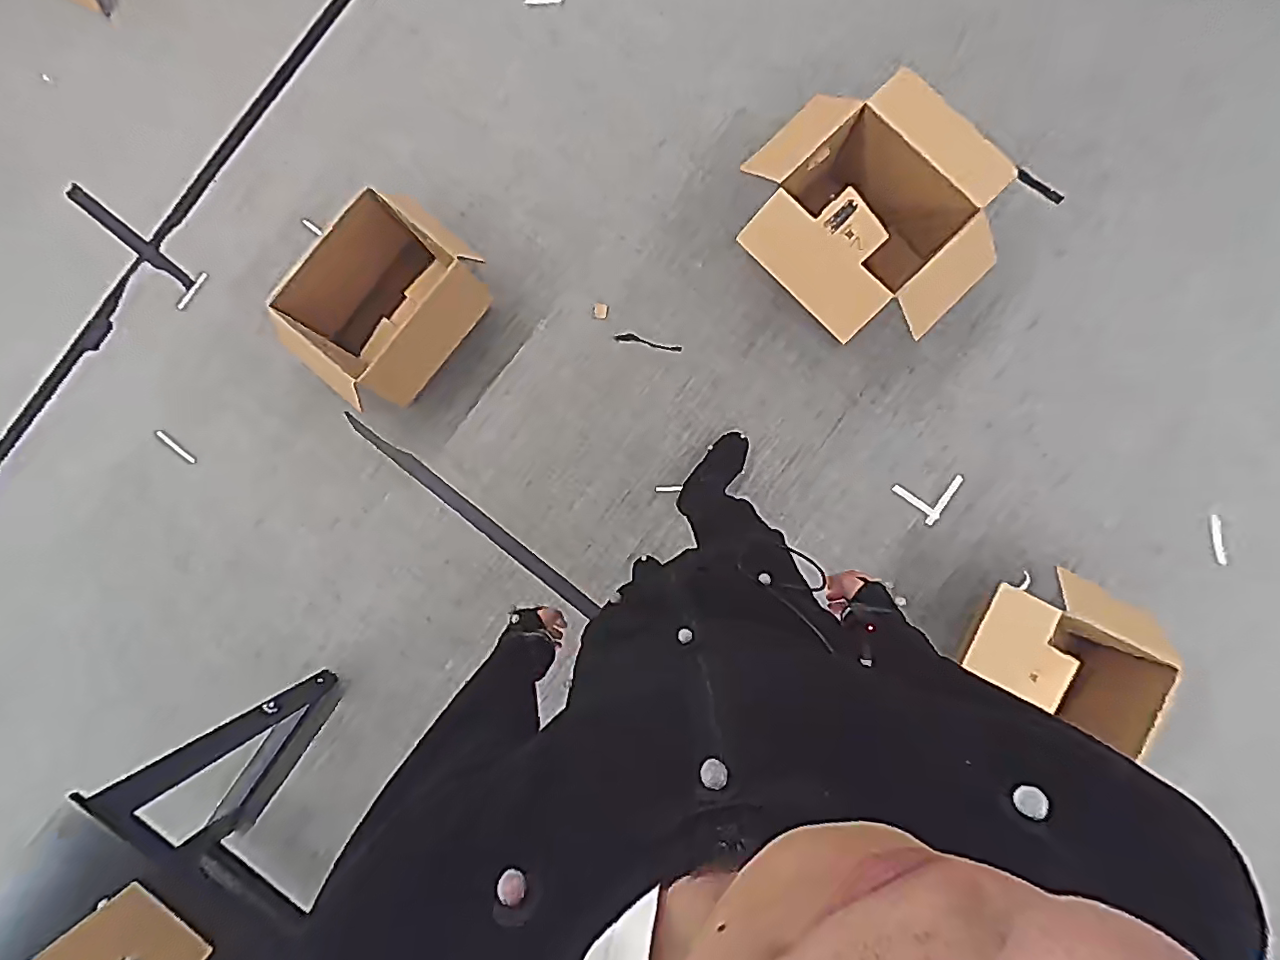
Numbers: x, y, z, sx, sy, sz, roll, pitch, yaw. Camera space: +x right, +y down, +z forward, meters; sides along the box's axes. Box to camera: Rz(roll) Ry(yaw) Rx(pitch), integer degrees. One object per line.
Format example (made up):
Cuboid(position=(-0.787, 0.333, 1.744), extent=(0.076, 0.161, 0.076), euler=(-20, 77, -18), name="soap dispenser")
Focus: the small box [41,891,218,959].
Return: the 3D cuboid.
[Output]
Cuboid(position=(-0.818, 0.786, 0.826), extent=(0.179, 0.176, 0.168), euler=(39, 91, 1), name="small box")
